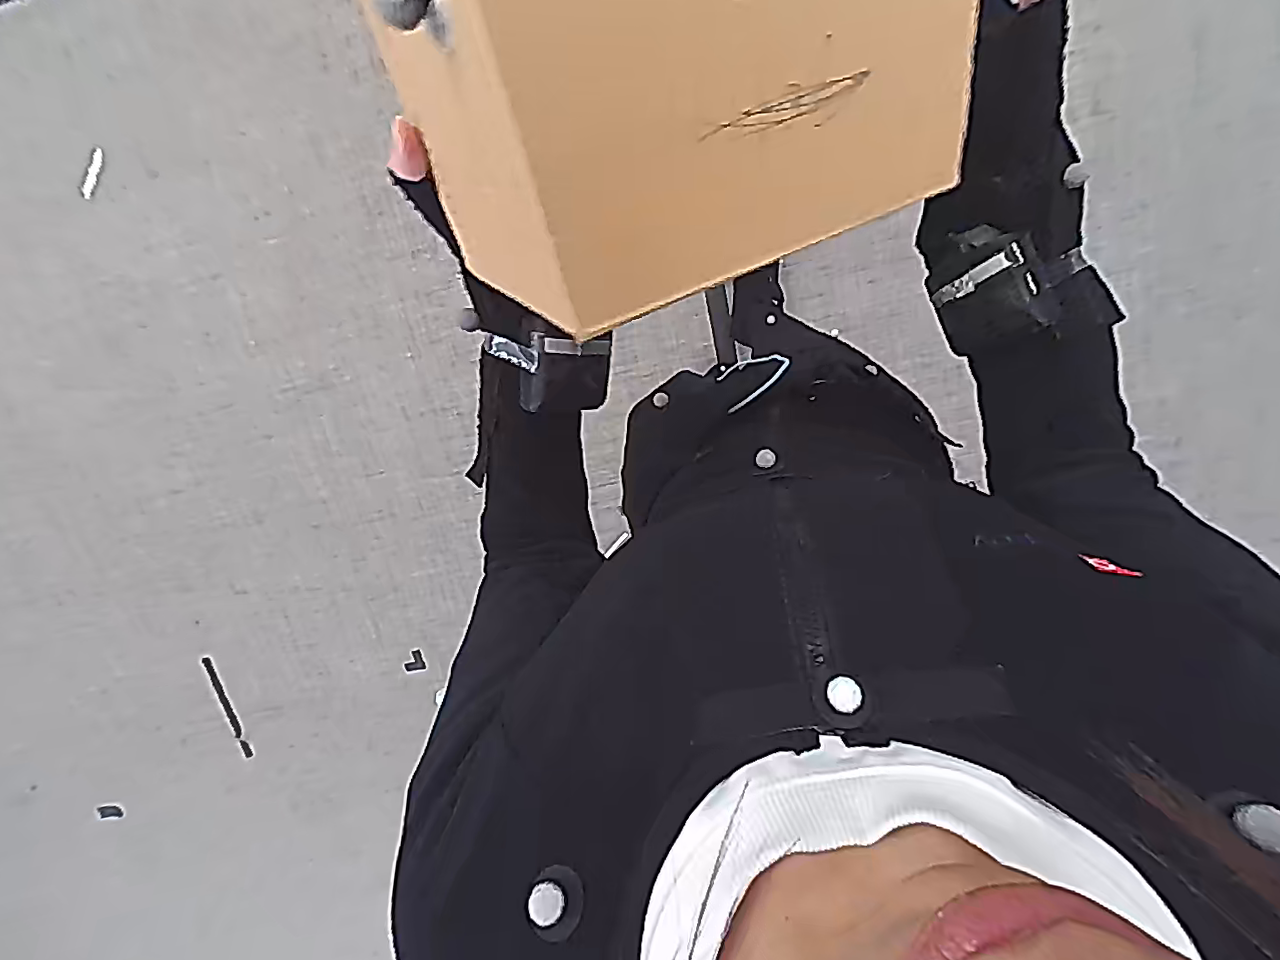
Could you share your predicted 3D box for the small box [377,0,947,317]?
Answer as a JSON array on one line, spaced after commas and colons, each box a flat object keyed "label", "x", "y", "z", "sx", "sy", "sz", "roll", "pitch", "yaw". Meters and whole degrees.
[{"label": "small box", "x": -0.005, "y": -0.188, "z": 0.220, "sx": 0.168, "sy": 0.176, "sz": 0.179, "roll": -26, "pitch": 125, "yaw": -16}]
